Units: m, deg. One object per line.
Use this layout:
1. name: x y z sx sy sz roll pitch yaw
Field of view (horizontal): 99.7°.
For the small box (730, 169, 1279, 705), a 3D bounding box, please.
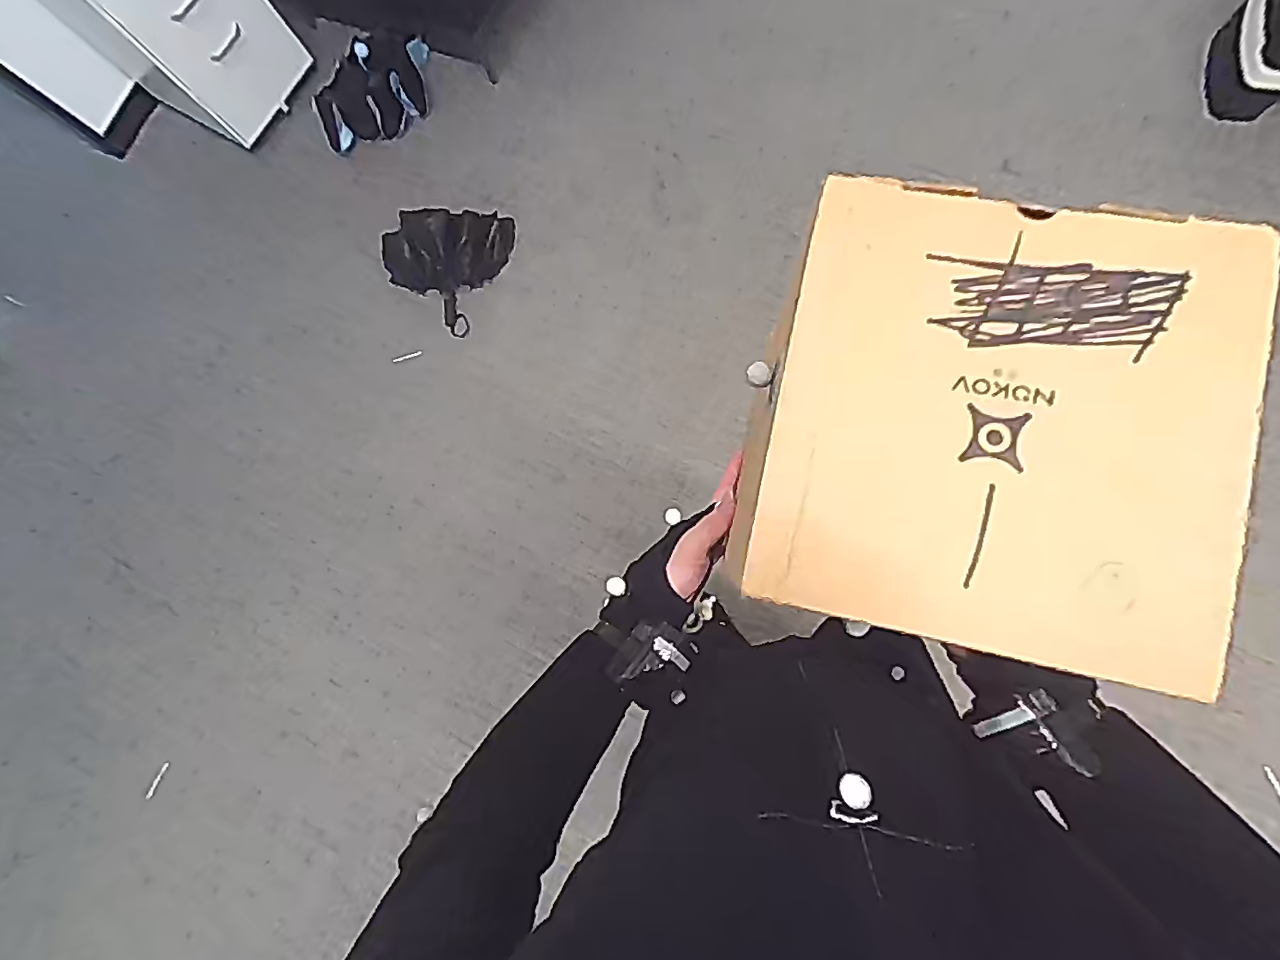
1. small box: 0.143 -0.017 0.278 0.168 0.176 0.179 12 87 9
